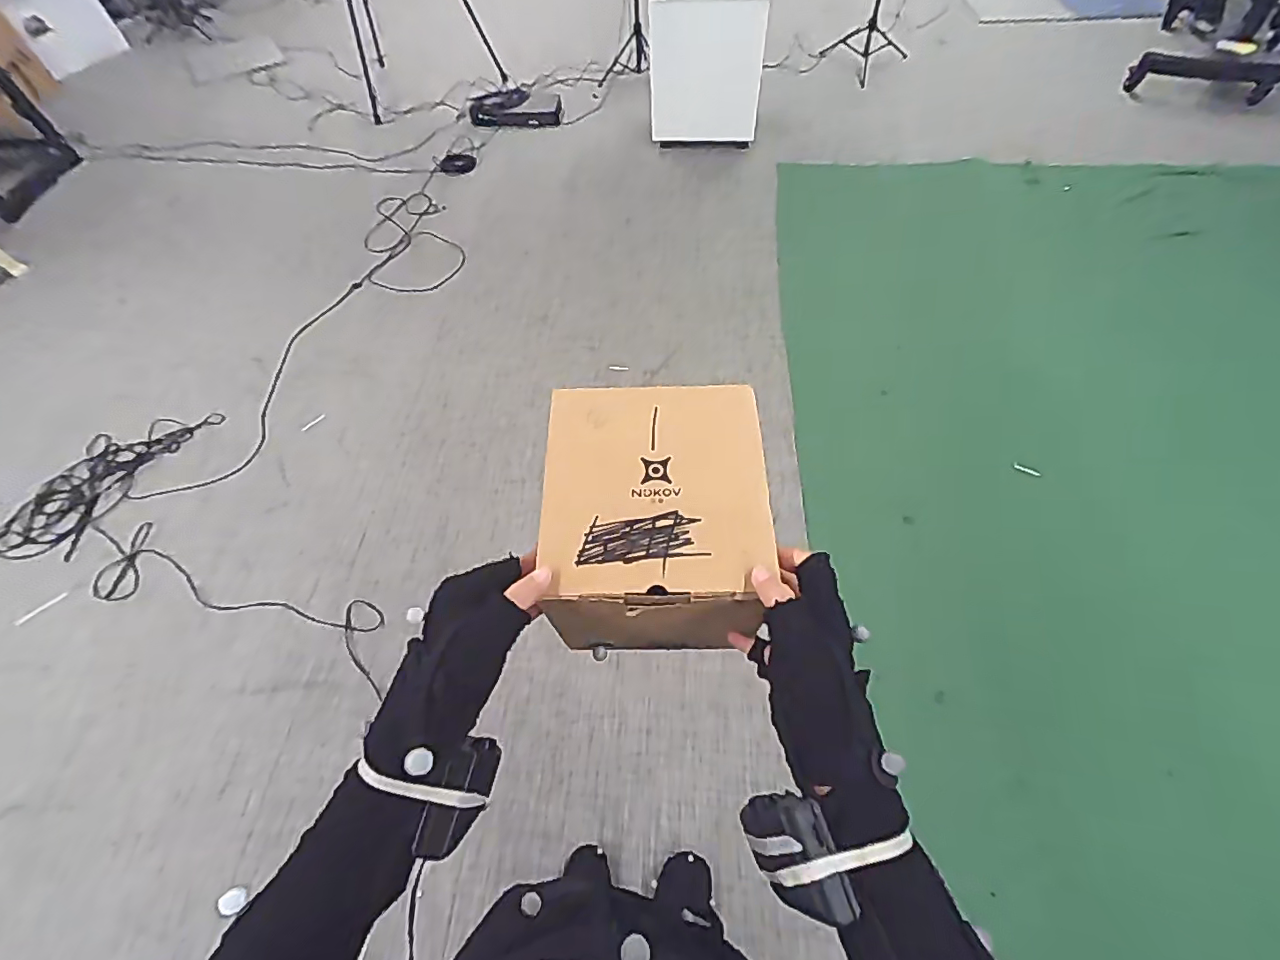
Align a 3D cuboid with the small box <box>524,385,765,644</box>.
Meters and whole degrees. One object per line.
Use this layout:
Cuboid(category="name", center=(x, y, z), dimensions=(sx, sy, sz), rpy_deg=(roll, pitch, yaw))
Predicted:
Cuboid(category="small box", center=(0.008, 0.040, 0.468), dimensions=(0.168, 0.176, 0.179), rpy_deg=(-1, 60, 2))
